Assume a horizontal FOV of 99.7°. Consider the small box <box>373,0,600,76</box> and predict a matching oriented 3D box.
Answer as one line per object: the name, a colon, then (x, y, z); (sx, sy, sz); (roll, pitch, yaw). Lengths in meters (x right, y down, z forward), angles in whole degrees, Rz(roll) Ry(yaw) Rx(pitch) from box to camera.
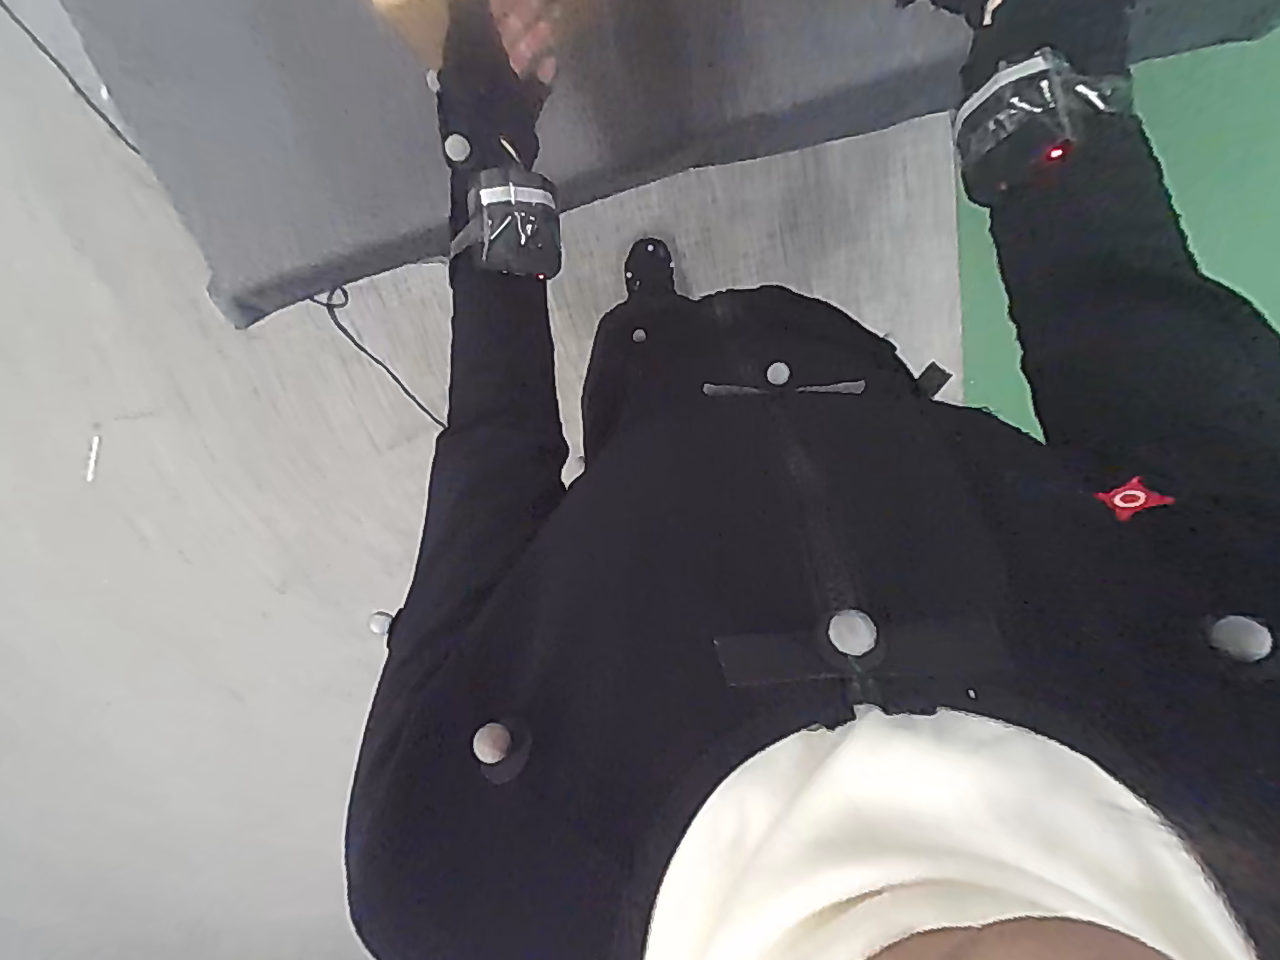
small box: (-0.135, -0.454, 0.421); (0.168, 0.176, 0.179); (-18, 109, 4)
